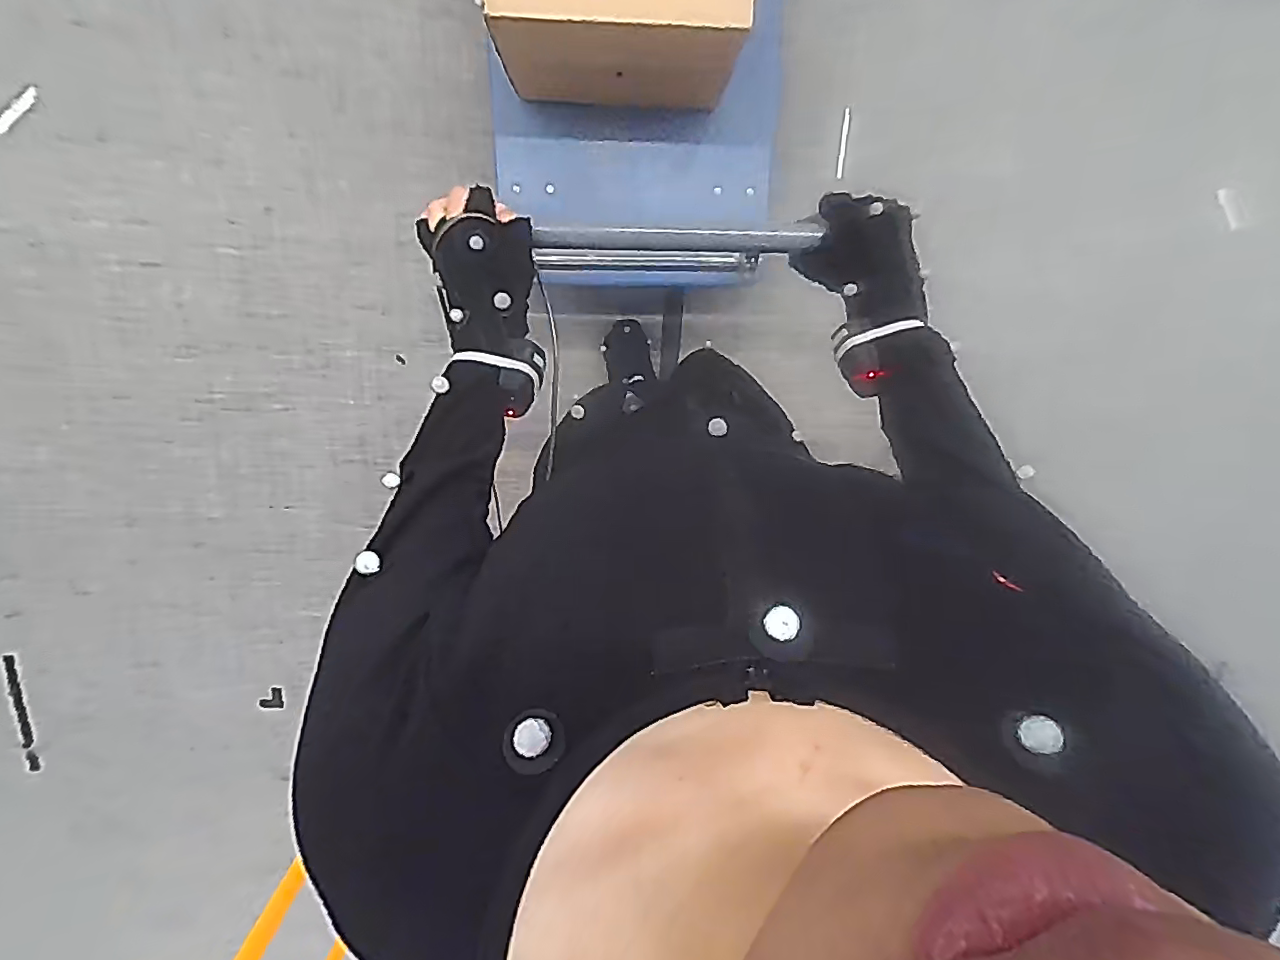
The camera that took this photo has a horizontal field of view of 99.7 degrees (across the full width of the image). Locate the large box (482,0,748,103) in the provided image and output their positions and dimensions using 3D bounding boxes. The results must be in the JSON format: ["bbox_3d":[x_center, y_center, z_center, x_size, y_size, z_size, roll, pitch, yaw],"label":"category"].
[{"bbox_3d":[-0.038,-0.872,0.916,0.408,0.320,0.320,1,105,-2],"label":"large box"}]
